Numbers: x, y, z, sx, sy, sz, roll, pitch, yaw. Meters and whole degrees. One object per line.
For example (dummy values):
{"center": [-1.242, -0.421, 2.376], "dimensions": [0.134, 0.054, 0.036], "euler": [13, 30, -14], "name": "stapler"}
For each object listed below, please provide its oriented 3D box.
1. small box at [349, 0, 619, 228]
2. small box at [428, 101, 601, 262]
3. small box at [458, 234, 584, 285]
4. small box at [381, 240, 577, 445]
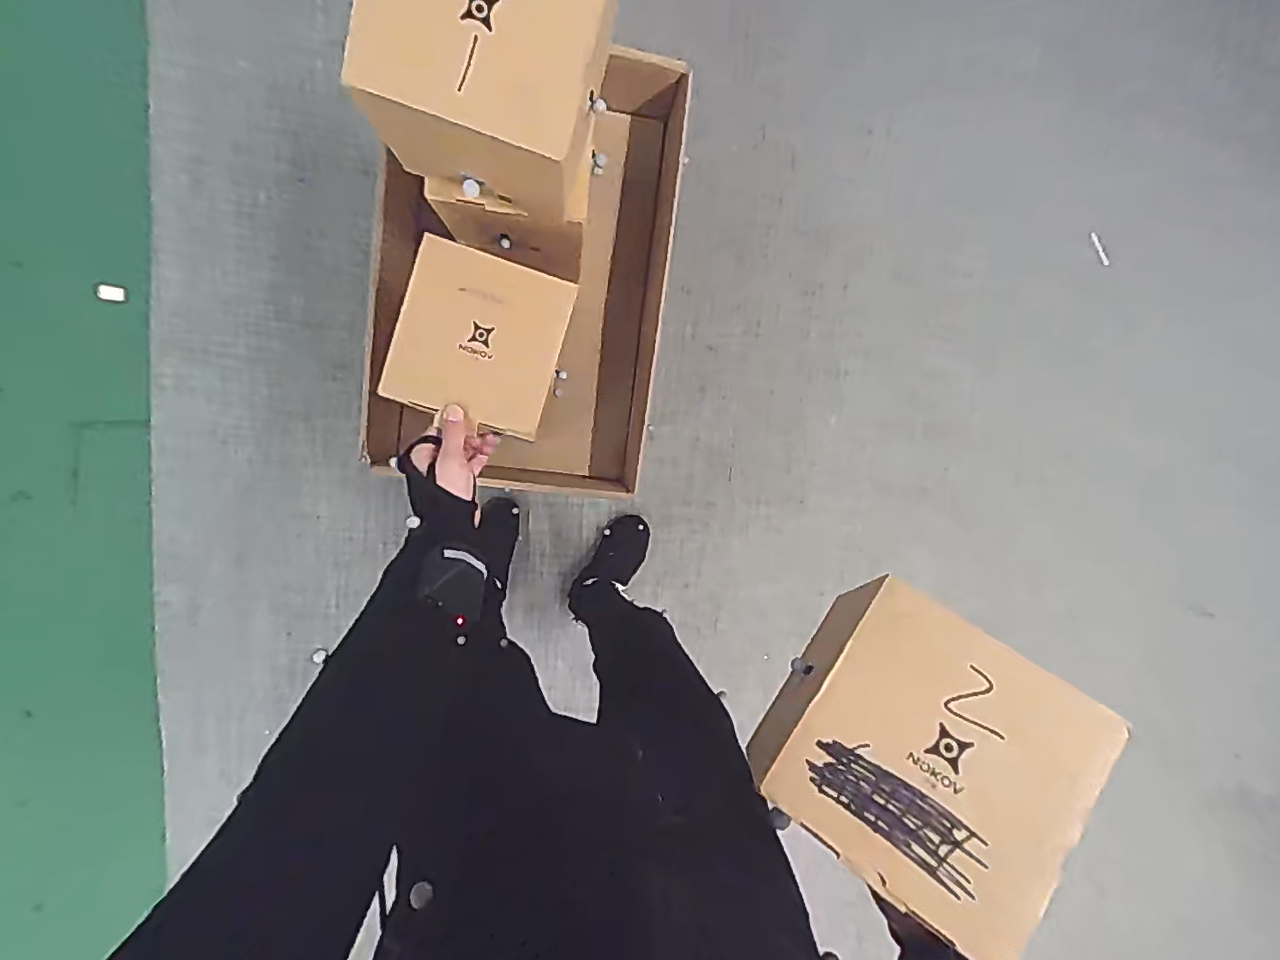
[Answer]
{"center": [-0.121, -0.353, 0.471], "dimensions": [0.168, 0.176, 0.179], "euler": [15, 98, -10], "name": "small box"}
{"center": [-0.140, -0.375, 0.633], "dimensions": [0.168, 0.176, 0.179], "euler": [6, 100, -10], "name": "small box"}
{"center": [-0.161, -0.402, 0.791], "dimensions": [0.168, 0.176, 0.179], "euler": [6, 98, -8], "name": "small box"}
{"center": [-0.179, -0.147, 0.650], "dimensions": [0.168, 0.176, 0.179], "euler": [17, 90, -10], "name": "small box"}
